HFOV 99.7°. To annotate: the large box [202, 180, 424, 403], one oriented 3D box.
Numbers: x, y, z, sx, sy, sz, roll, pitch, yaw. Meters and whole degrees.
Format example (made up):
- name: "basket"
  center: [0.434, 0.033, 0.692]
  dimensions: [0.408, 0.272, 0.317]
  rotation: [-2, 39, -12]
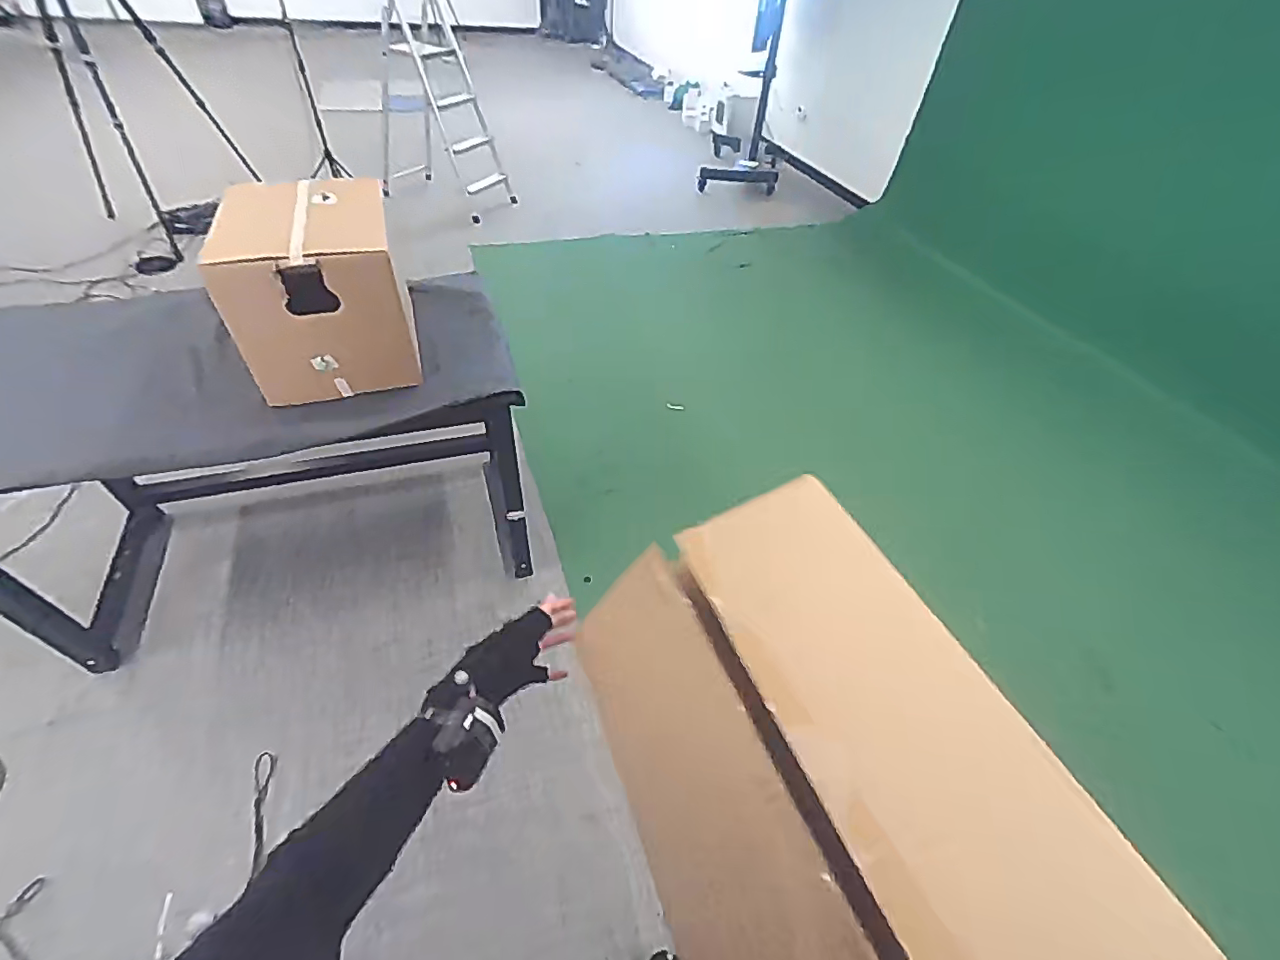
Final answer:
- name: "large box"
  center: [-0.693, -0.429, 1.206]
  dimensions: [0.320, 0.320, 0.408]
  rotation: [-12, 48, -17]
